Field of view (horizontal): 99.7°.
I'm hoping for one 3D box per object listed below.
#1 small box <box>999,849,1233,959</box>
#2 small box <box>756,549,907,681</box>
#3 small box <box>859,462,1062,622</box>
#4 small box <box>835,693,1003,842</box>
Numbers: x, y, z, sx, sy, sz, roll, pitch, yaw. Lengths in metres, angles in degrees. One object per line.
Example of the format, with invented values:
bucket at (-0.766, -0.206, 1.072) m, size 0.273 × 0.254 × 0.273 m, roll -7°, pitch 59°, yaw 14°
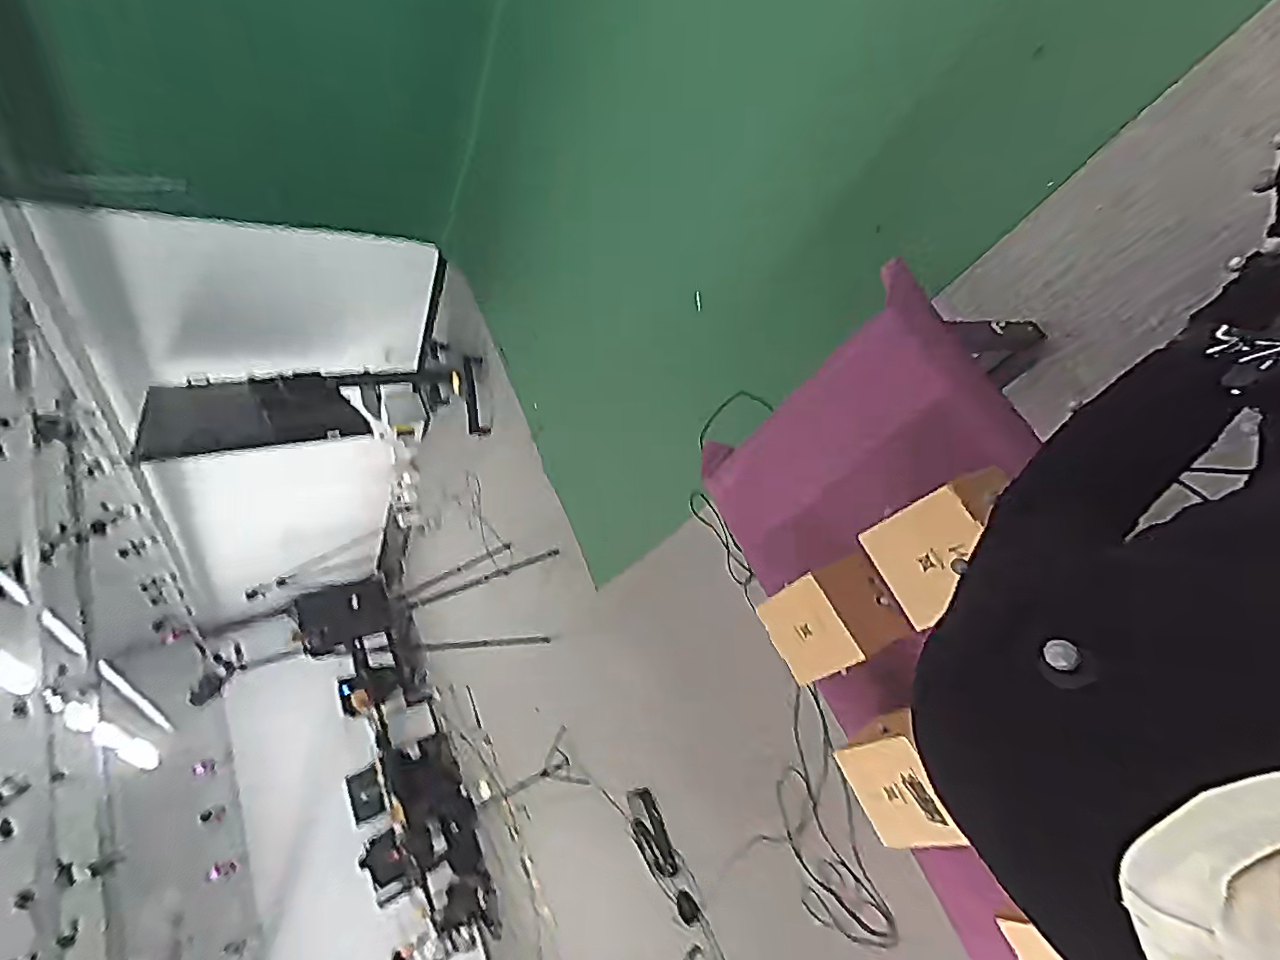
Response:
small box at (0.658, 0.644, 0.748) m, size 0.168 × 0.176 × 0.179 m, roll 62°, pitch 141°, yaw 19°
small box at (0.365, 0.255, 1.035) m, size 0.168 × 0.176 × 0.179 m, roll 61°, pitch 139°, yaw 20°
small box at (0.485, 0.092, 0.824) m, size 0.168 × 0.176 × 0.179 m, roll 63°, pitch 142°, yaw 18°
small box at (0.487, 0.493, 0.937) m, size 0.168 × 0.176 × 0.179 m, roll 62°, pitch 141°, yaw 21°
